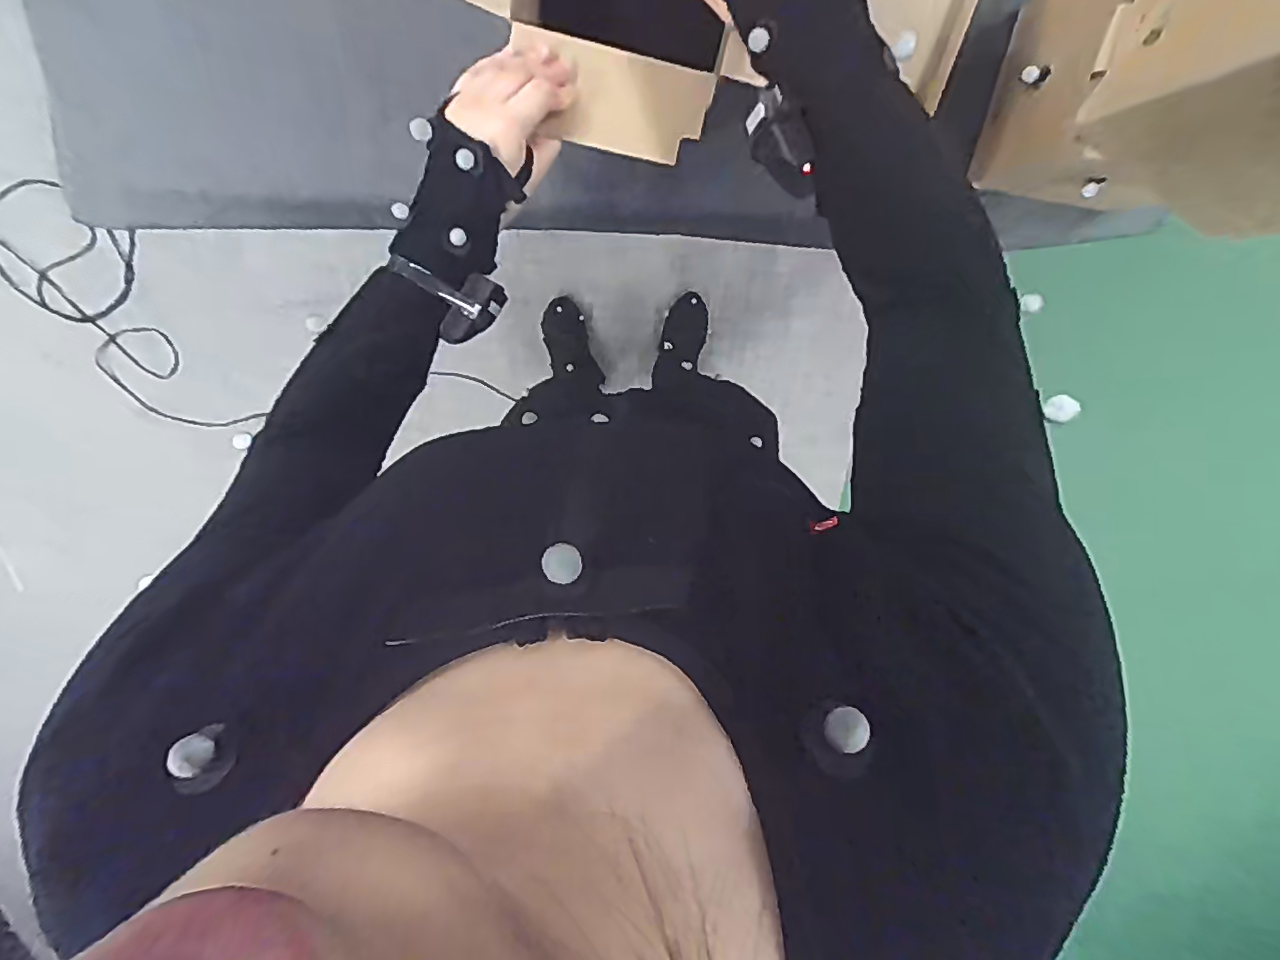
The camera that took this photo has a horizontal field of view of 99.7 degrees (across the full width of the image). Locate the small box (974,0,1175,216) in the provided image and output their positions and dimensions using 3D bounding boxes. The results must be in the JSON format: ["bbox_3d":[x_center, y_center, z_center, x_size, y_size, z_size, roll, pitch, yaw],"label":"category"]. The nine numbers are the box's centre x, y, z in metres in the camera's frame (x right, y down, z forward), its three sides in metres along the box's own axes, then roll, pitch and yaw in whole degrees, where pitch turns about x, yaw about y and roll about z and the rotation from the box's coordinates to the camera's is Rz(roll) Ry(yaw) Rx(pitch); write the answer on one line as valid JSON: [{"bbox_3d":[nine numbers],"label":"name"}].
[{"bbox_3d":[0.459,-0.354,0.504,0.179,0.176,0.168,8,111,-3],"label":"small box"}]

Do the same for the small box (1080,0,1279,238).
[{"bbox_3d":[0.462,-0.279,0.358,0.179,0.176,0.168,27,108,-11],"label":"small box"}]
